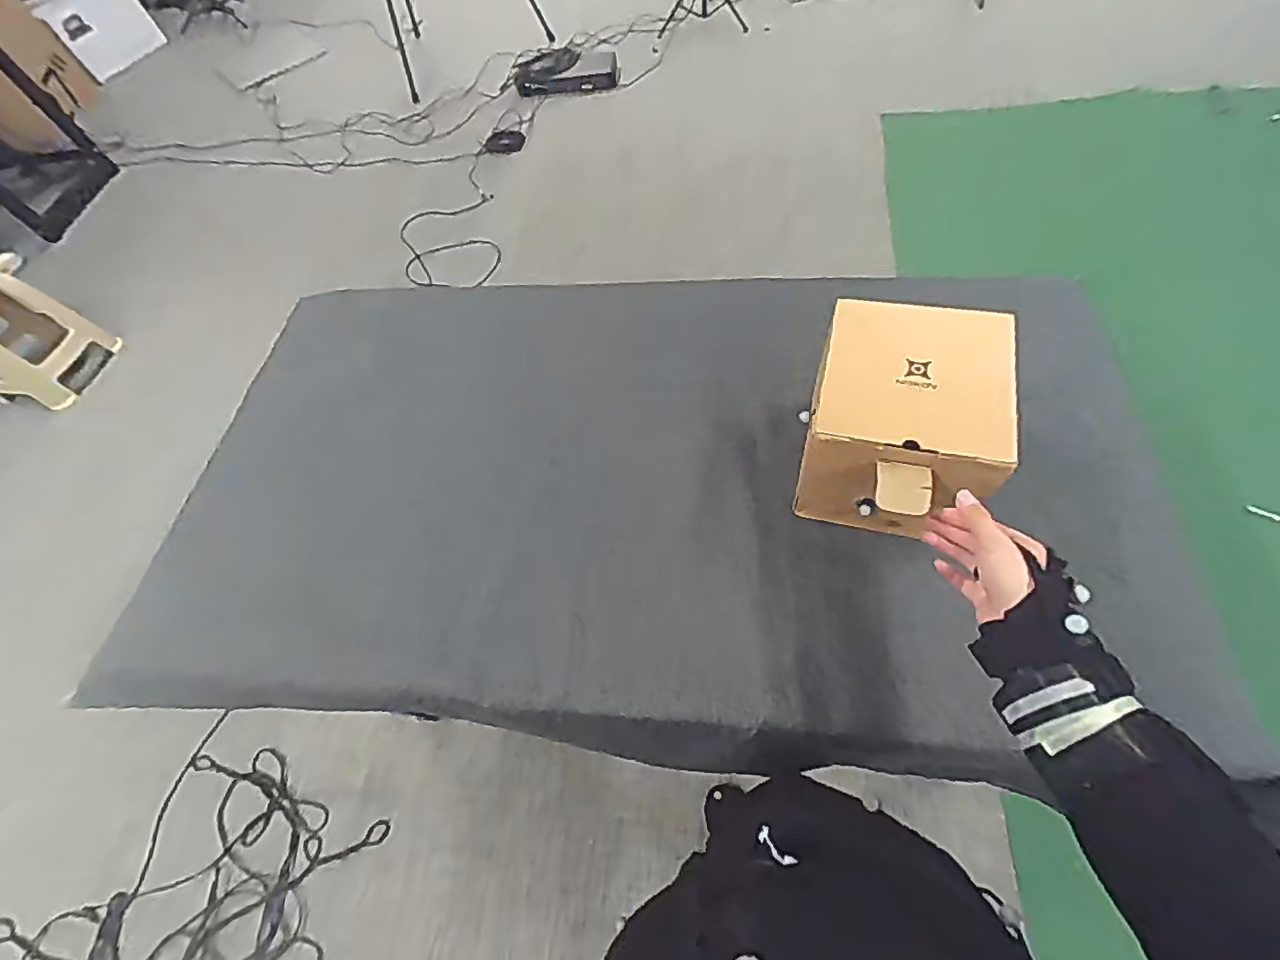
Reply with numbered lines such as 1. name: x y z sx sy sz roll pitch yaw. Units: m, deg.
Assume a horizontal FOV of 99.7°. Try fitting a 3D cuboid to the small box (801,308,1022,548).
1. small box: 0.273 -0.051 0.573 0.168 0.176 0.179 11 63 15
